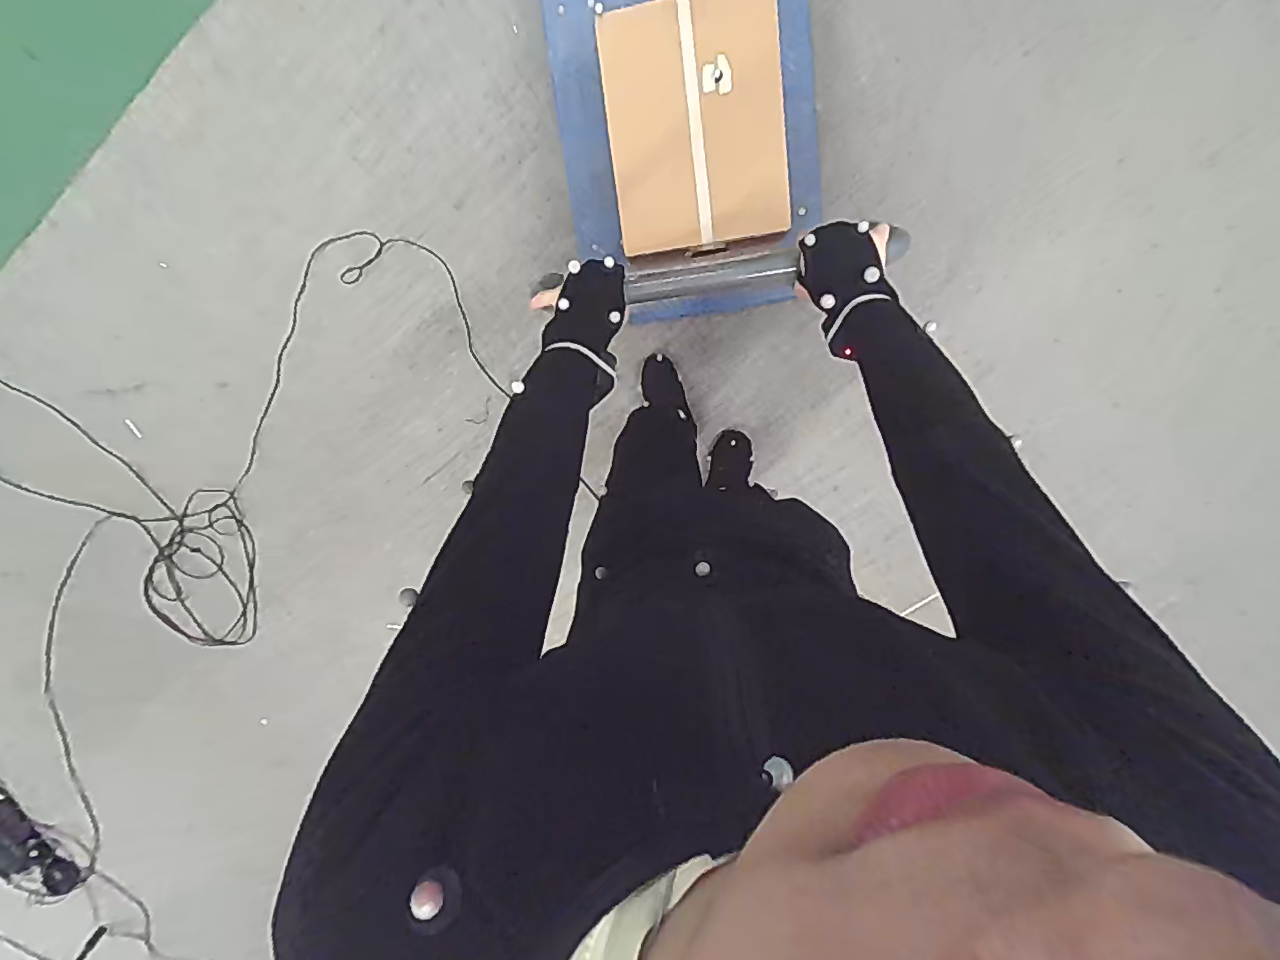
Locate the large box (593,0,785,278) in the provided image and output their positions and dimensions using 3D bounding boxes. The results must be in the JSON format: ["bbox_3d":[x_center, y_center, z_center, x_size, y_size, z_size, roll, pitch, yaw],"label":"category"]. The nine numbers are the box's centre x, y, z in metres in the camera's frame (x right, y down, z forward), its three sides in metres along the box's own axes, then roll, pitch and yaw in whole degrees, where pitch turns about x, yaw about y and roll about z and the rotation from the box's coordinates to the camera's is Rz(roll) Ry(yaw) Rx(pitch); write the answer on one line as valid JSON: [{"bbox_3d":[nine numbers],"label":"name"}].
[{"bbox_3d":[0.110,-0.674,1.131,0.320,0.320,0.408,-6,102,8],"label":"large box"}]
